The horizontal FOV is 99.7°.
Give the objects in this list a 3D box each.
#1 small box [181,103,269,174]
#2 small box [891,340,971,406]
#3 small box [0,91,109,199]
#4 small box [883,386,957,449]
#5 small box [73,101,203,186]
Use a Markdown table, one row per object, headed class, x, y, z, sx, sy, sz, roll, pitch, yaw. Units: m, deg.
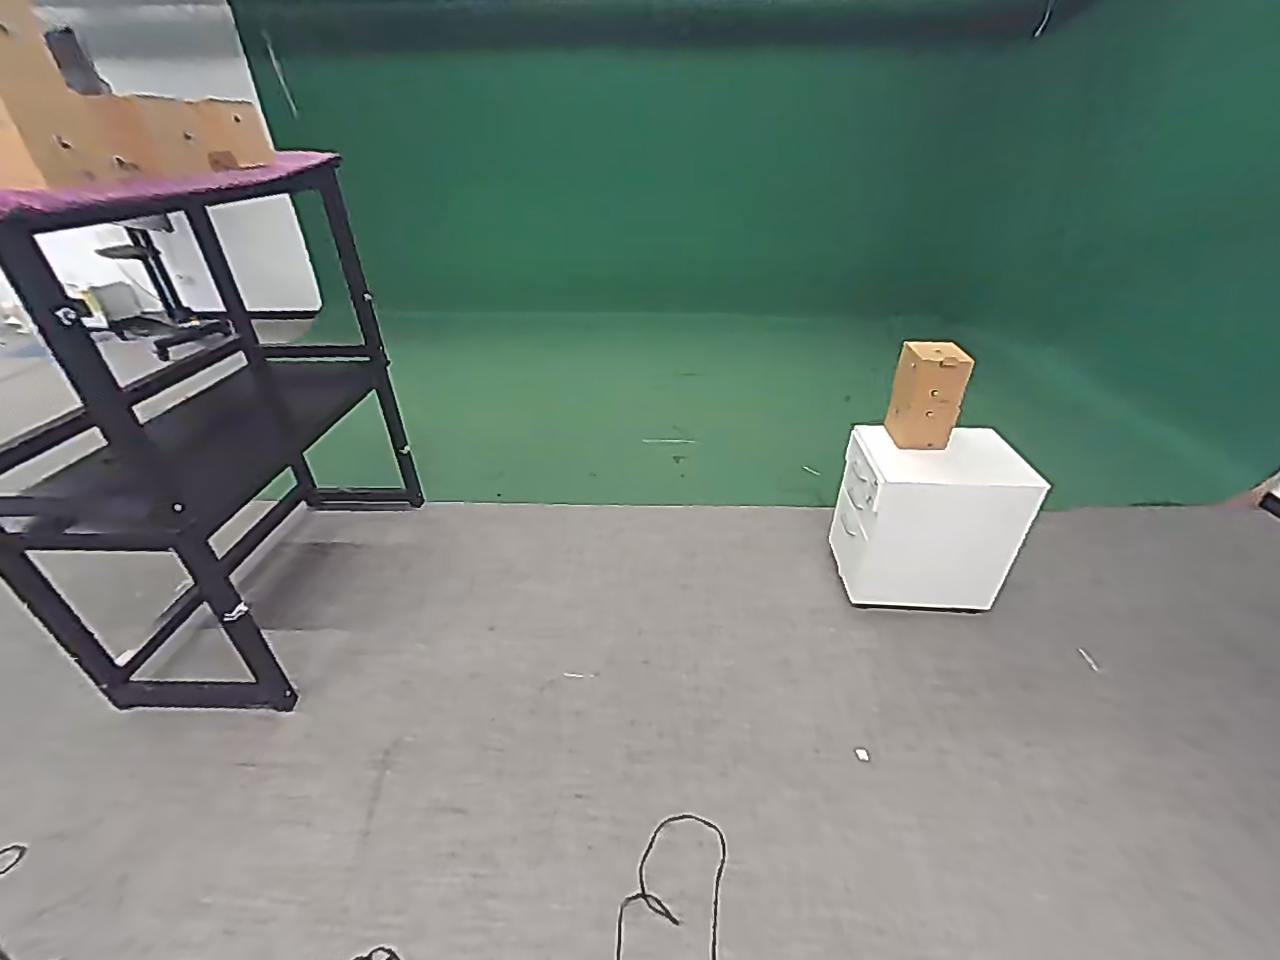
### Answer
| class | x | y | z | sx | sy | sz | roll | pitch | yaw |
| --- | --- | --- | --- | --- | --- | --- | --- | --- | --- |
| small box | -1.255 | -1.011 | 1.605 | 0.168 | 0.176 | 0.179 | -1 | 33 | 4 |
| small box | 0.982 | -0.366 | 1.843 | 0.168 | 0.176 | 0.179 | 2 | 35 | 2 |
| small box | -1.210 | -0.649 | 1.048 | 0.179 | 0.176 | 0.168 | -1 | 32 | 0 |
| small box | 0.989 | -0.228 | 1.930 | 0.168 | 0.176 | 0.179 | 1 | 34 | 3 |
| small box | -1.235 | -0.832 | 1.337 | 0.168 | 0.176 | 0.179 | -2 | 34 | 1 |
